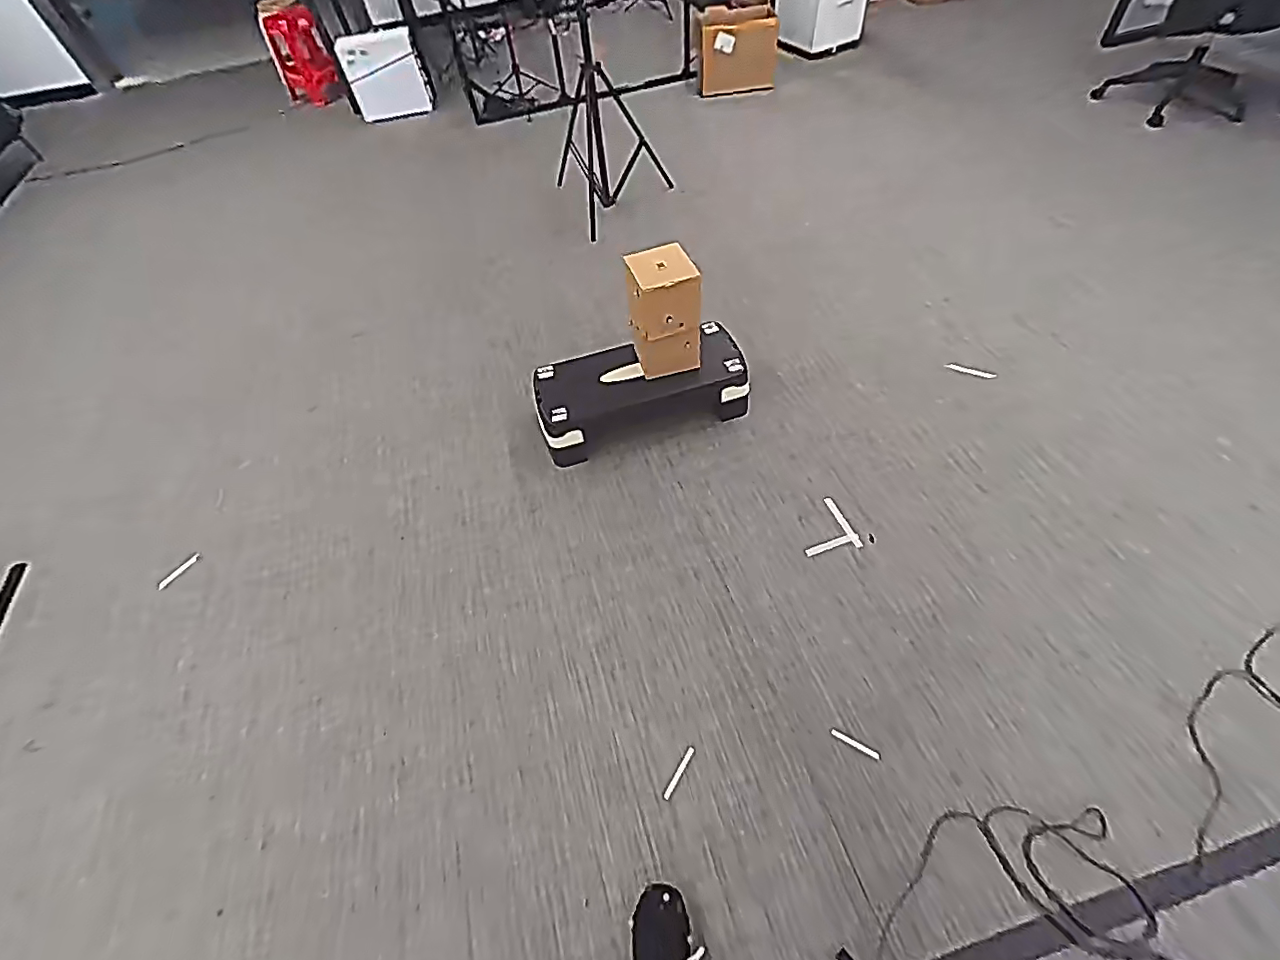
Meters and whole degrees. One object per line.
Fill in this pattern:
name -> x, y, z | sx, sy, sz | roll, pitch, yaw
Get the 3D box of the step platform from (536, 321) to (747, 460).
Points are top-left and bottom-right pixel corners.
step platform -> 0.005, -0.305, 1.801 | 0.684, 0.204, 0.286 | -17, 53, -6

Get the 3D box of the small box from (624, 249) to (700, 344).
small box -> 0.061, -0.518, 1.533 | 0.168, 0.176, 0.179 | -18, 55, -8
